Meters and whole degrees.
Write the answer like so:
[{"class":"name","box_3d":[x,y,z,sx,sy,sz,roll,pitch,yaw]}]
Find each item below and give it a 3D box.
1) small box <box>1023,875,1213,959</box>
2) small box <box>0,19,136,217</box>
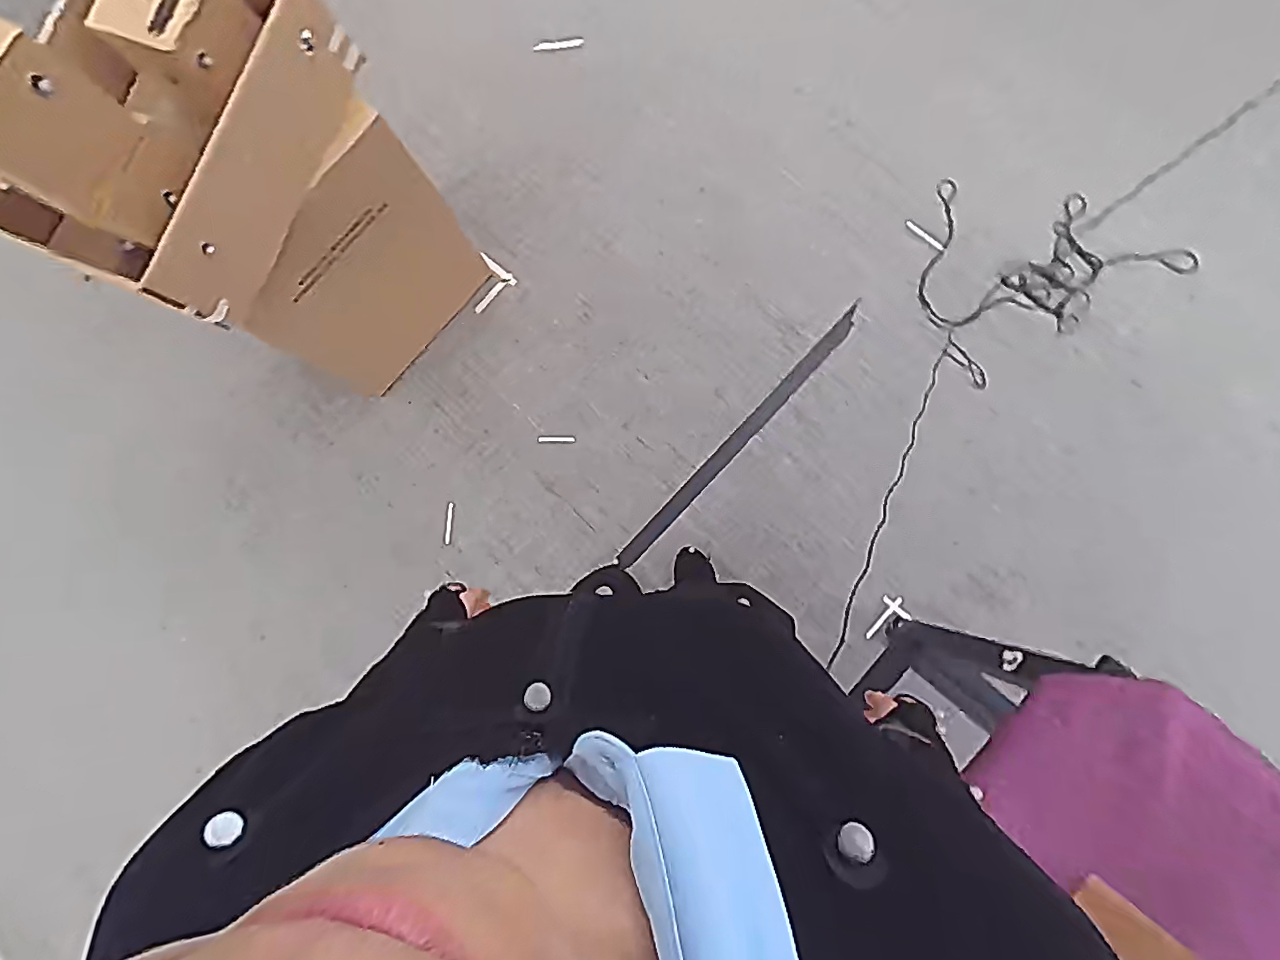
[{"class":"small box","box_3d":[0.566,0.590,0.584,0.168,0.176,0.179,38,87,9]},{"class":"small box","box_3d":[-0.888,-0.521,0.770,0.168,0.176,0.179,25,86,7]}]
